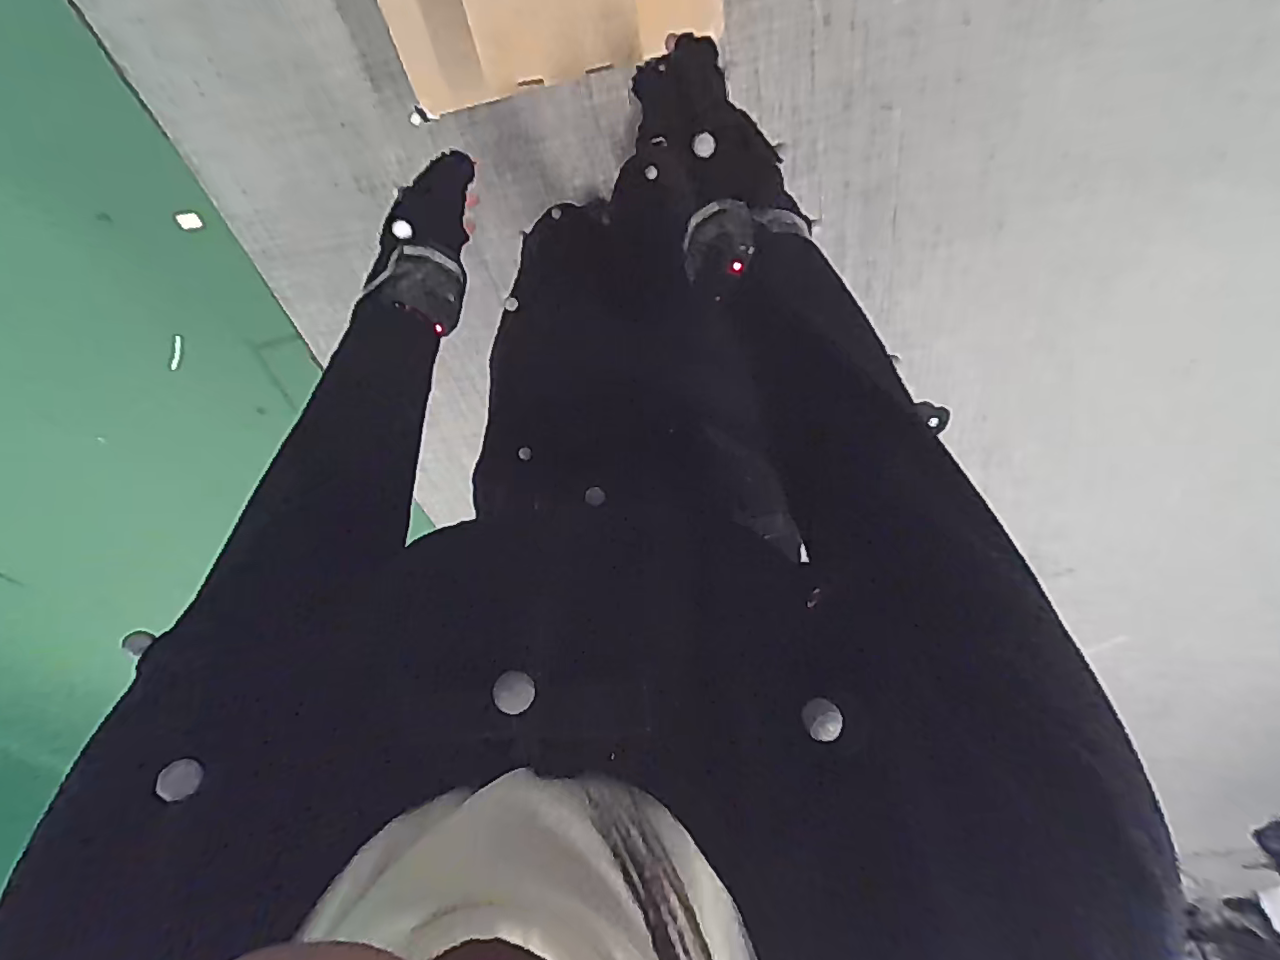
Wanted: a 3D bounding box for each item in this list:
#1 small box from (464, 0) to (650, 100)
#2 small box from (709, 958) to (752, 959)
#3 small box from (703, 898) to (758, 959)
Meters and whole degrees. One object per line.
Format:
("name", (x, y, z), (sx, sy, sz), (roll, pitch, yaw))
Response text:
("small box", (-0.084, -0.526, 0.557), (0.168, 0.176, 0.179), (-5, 134, 9))
("small box", (0.314, 1.748, 1.840), (0.179, 0.176, 0.168), (-8, 131, 10))
("small box", (0.326, 1.640, 1.963), (0.179, 0.176, 0.168), (-7, 131, 12))
